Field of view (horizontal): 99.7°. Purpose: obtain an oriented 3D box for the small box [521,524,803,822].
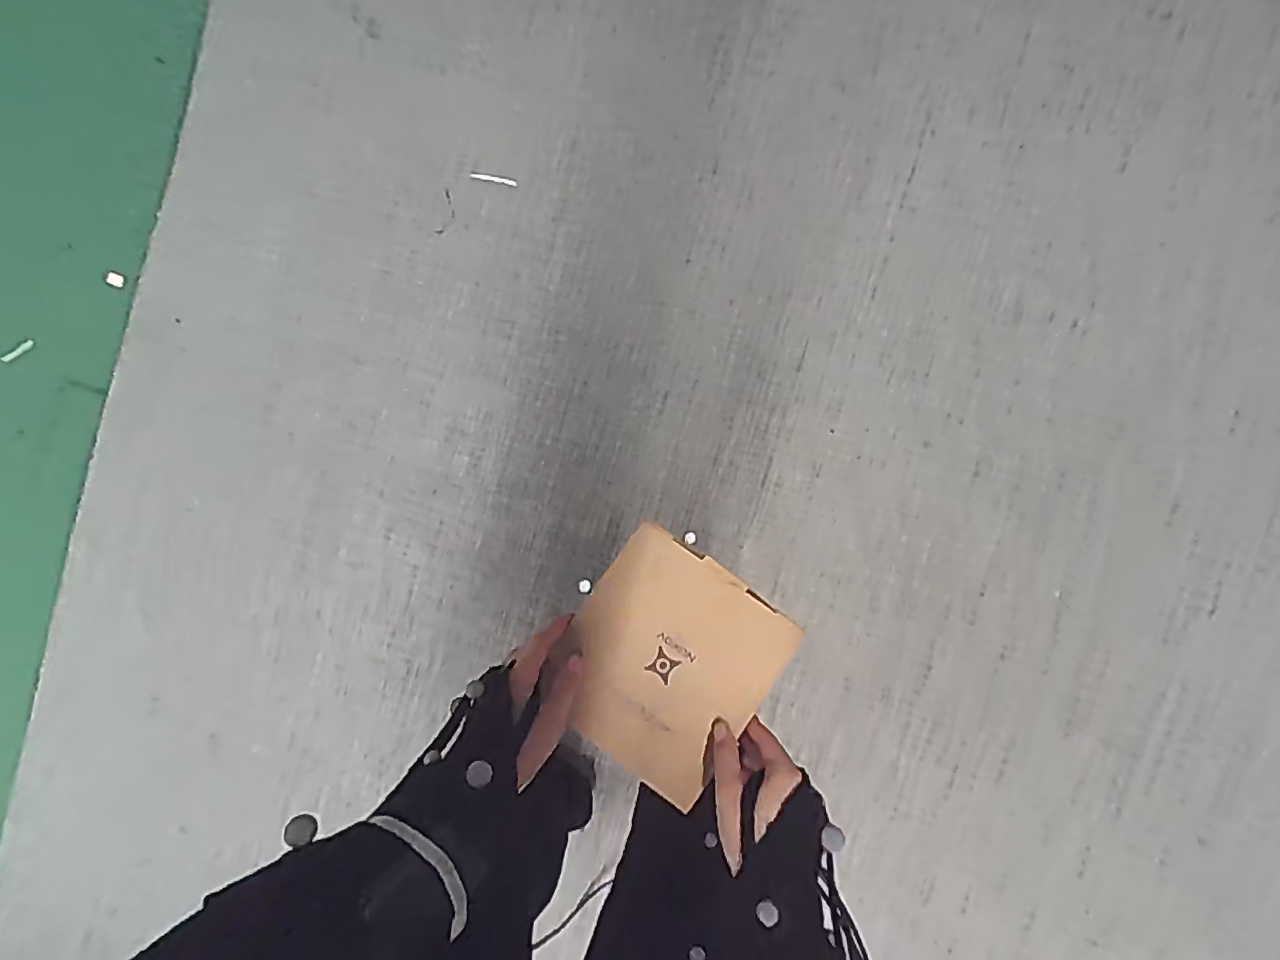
[{"bbox_3d":[0.018,0.158,0.510,0.168,0.176,0.179,34,86,5],"label":"small box"}]
